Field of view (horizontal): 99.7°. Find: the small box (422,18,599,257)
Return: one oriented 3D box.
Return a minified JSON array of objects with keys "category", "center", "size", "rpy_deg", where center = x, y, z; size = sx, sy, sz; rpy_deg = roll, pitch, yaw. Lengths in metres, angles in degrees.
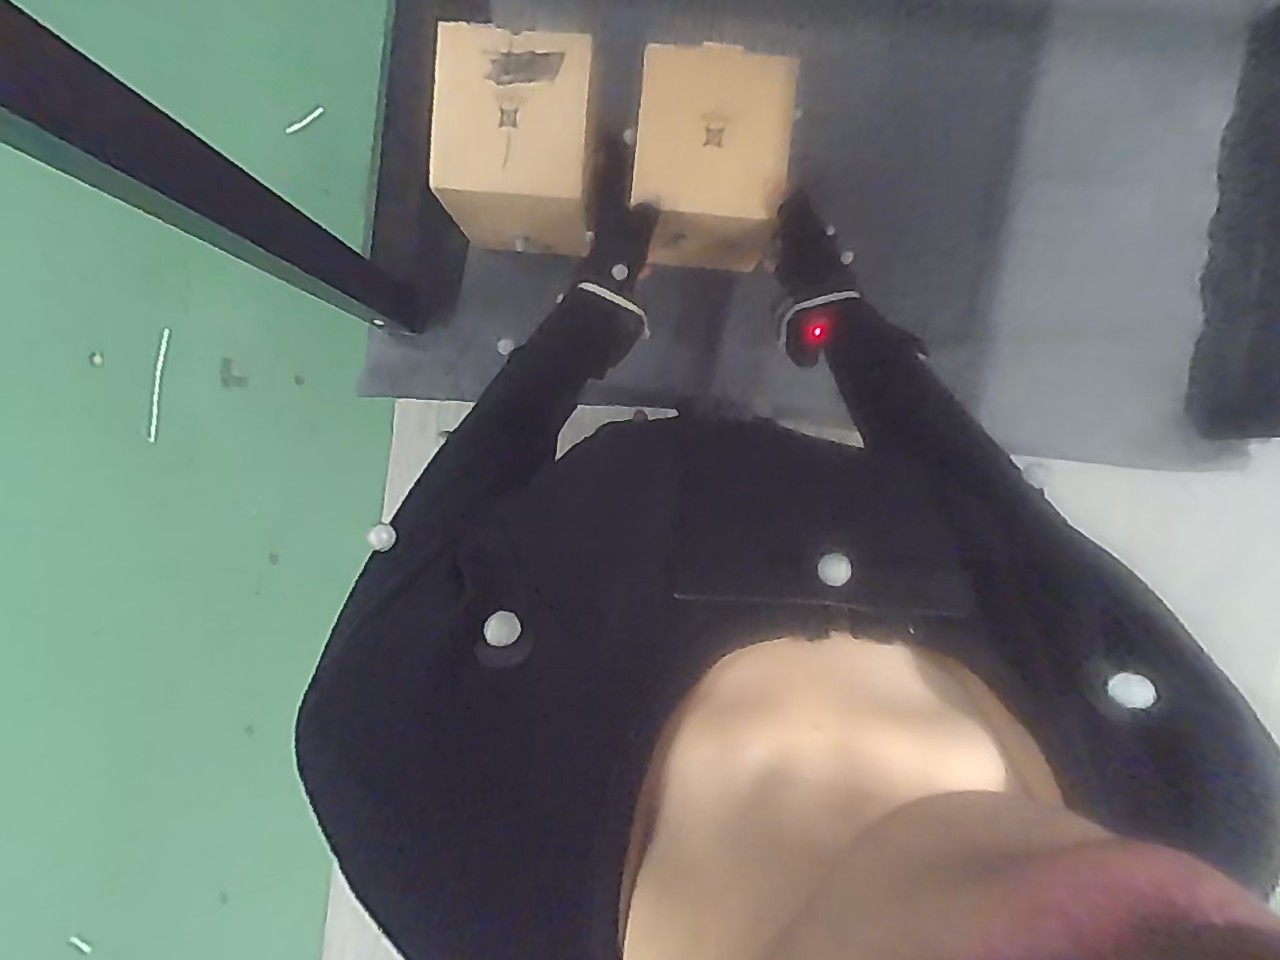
[{"category":"small box","center":[-0.142,-0.395,0.653],"size":[0.168,0.176,0.179],"rpy_deg":[6,92,0]}]
